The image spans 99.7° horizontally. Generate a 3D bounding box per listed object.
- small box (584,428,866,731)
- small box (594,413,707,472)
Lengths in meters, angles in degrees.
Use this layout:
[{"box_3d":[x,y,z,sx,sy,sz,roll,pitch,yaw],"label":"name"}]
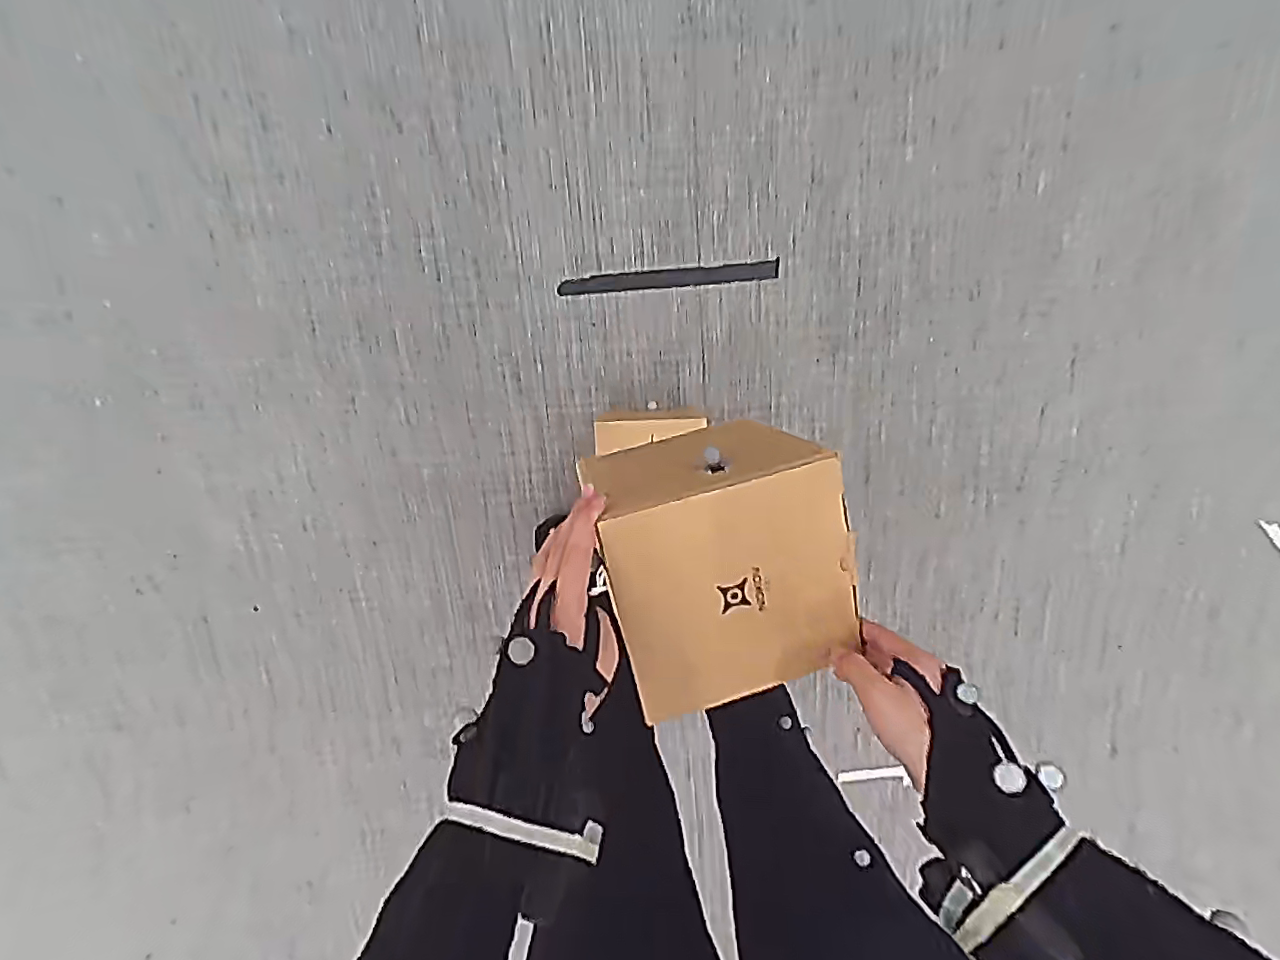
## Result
[{"box_3d":[0.056,0.064,0.451,0.179,0.176,0.168,-16,107,-8],"label":"small box"},{"box_3d":[0.016,-0.012,0.874,0.168,0.176,0.179,-2,102,0],"label":"small box"}]
